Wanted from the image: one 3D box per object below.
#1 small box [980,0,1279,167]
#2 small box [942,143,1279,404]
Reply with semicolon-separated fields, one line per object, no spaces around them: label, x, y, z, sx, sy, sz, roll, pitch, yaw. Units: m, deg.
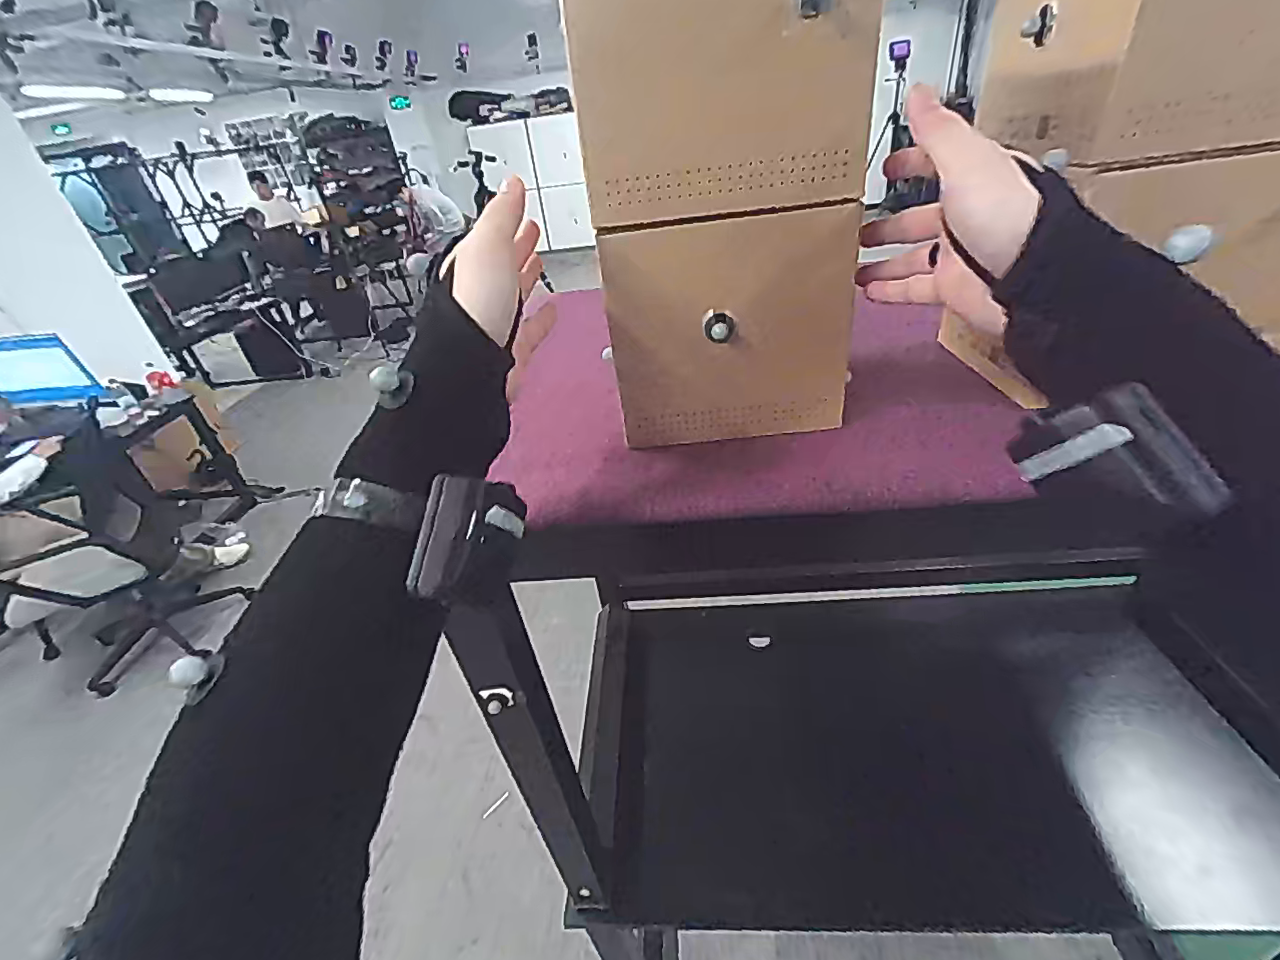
small box;0.349;-0.307;0.347;0.179;0.176;0.168;-4;33;6
small box;0.368;-0.169;0.435;0.179;0.176;0.168;-4;33;5
